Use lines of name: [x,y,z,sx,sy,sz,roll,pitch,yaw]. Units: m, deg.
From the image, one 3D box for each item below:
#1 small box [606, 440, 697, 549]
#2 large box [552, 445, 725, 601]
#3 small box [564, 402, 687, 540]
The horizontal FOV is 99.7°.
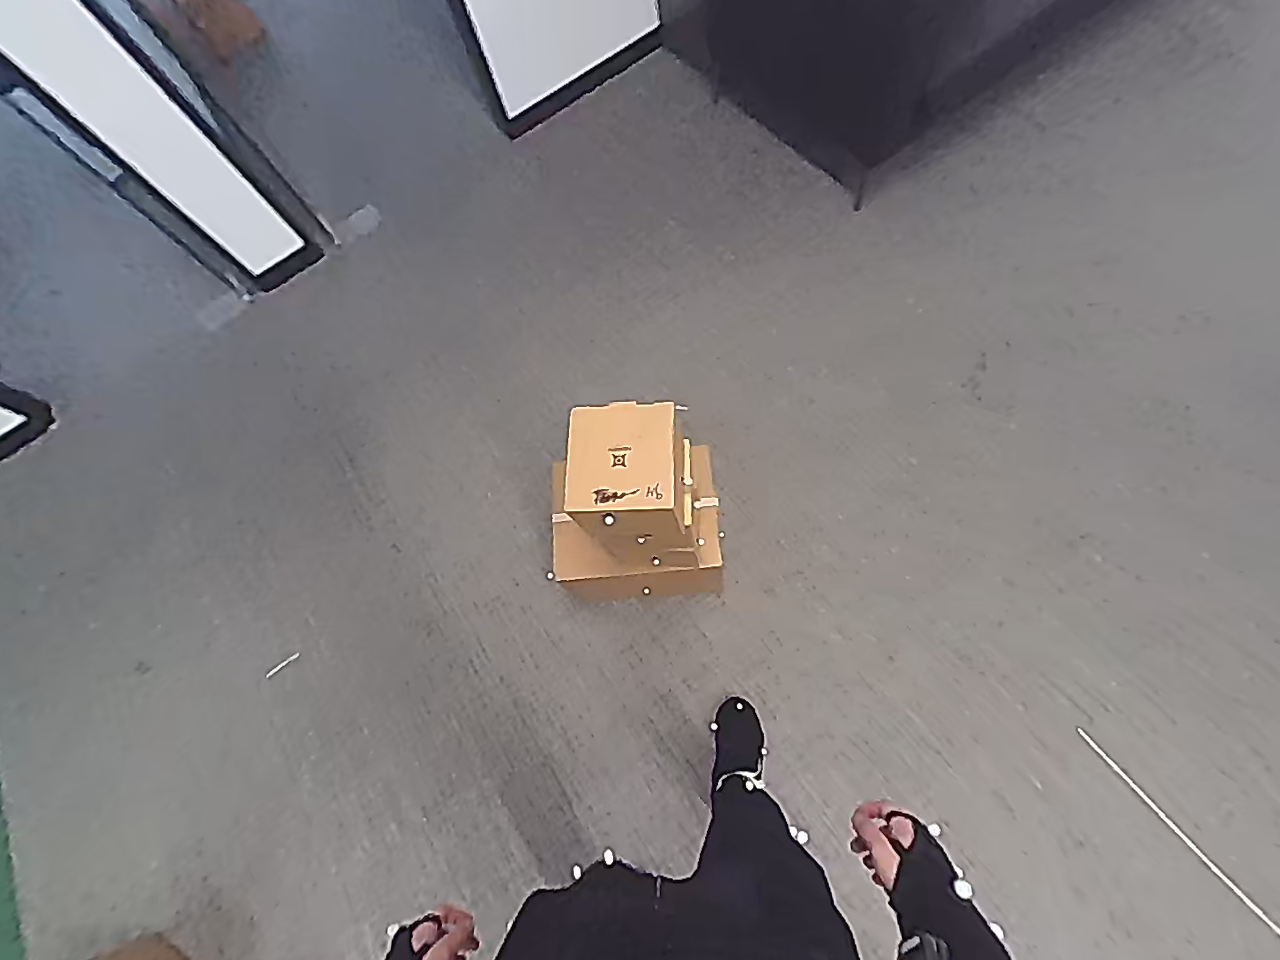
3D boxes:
small box: [0.018,0.034,1.034,0.179,0.176,0.168,-4,70,9]
large box: [0.006,0.133,1.439,0.408,0.320,0.320,-7,67,7]
small box: [-0.015,-0.008,0.877,0.168,0.176,0.179,-2,69,10]
